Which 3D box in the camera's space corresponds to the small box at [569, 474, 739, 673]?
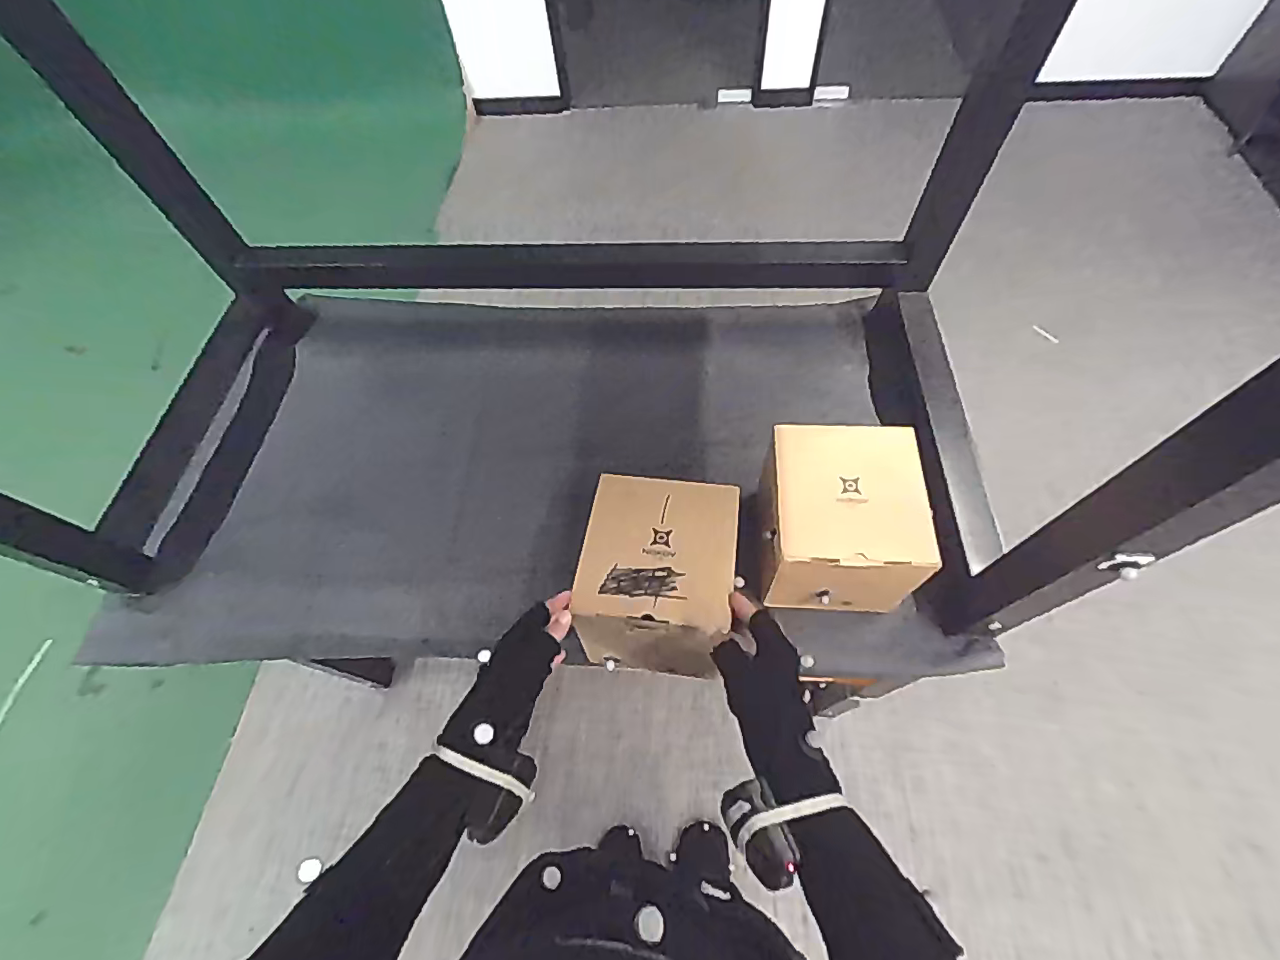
[{"bbox_3d":[0.027,0.115,0.644,0.168,0.176,0.179,5,55,9],"label":"small box"}]
